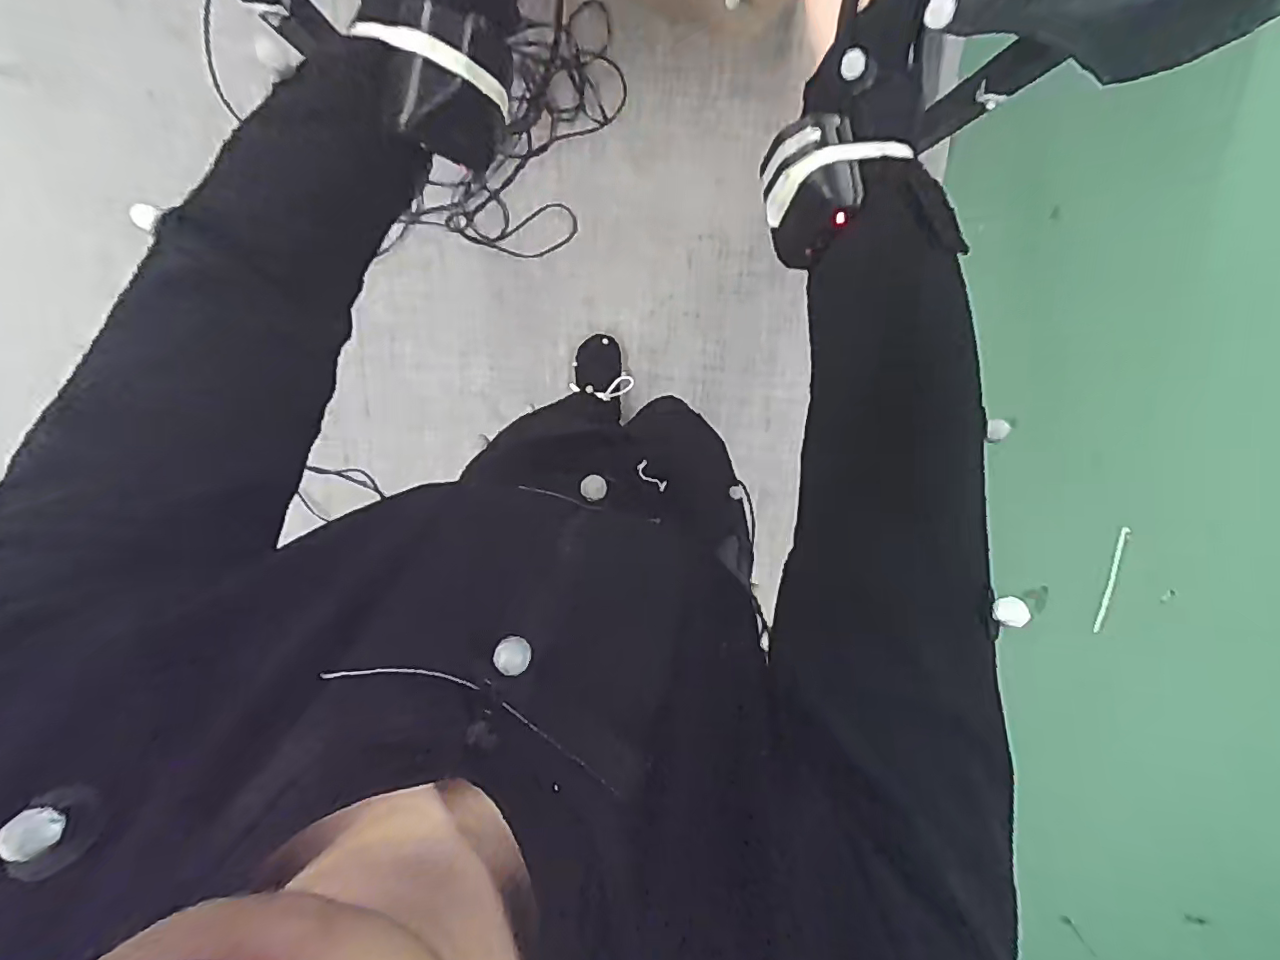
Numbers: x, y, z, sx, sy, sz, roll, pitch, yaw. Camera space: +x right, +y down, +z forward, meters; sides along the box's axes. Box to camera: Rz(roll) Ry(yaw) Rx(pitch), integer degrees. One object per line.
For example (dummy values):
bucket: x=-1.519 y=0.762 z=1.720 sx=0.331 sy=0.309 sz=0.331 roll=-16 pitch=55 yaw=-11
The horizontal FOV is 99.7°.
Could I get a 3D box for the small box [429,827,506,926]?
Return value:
small box: x=-0.484 y=1.125 z=1.542 sx=0.179 sy=0.176 sz=0.168 roll=1 pitch=105 yaw=-2
